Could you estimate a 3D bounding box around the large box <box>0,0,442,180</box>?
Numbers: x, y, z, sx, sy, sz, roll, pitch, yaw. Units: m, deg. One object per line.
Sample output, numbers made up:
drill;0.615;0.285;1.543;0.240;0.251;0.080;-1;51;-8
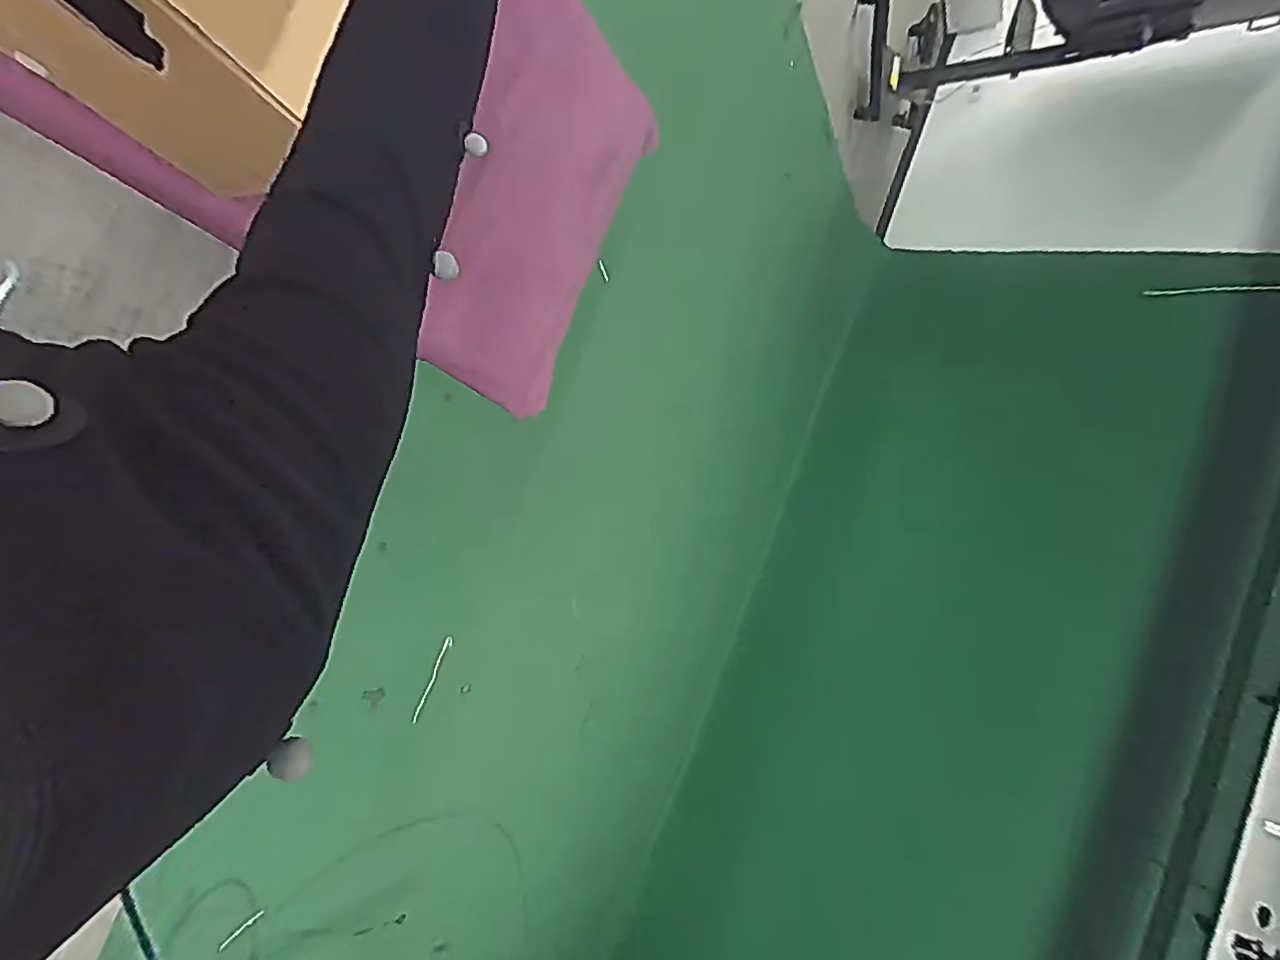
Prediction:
large box;-0.346;-0.517;0.418;0.320;0.320;0.408;34;78;-54
